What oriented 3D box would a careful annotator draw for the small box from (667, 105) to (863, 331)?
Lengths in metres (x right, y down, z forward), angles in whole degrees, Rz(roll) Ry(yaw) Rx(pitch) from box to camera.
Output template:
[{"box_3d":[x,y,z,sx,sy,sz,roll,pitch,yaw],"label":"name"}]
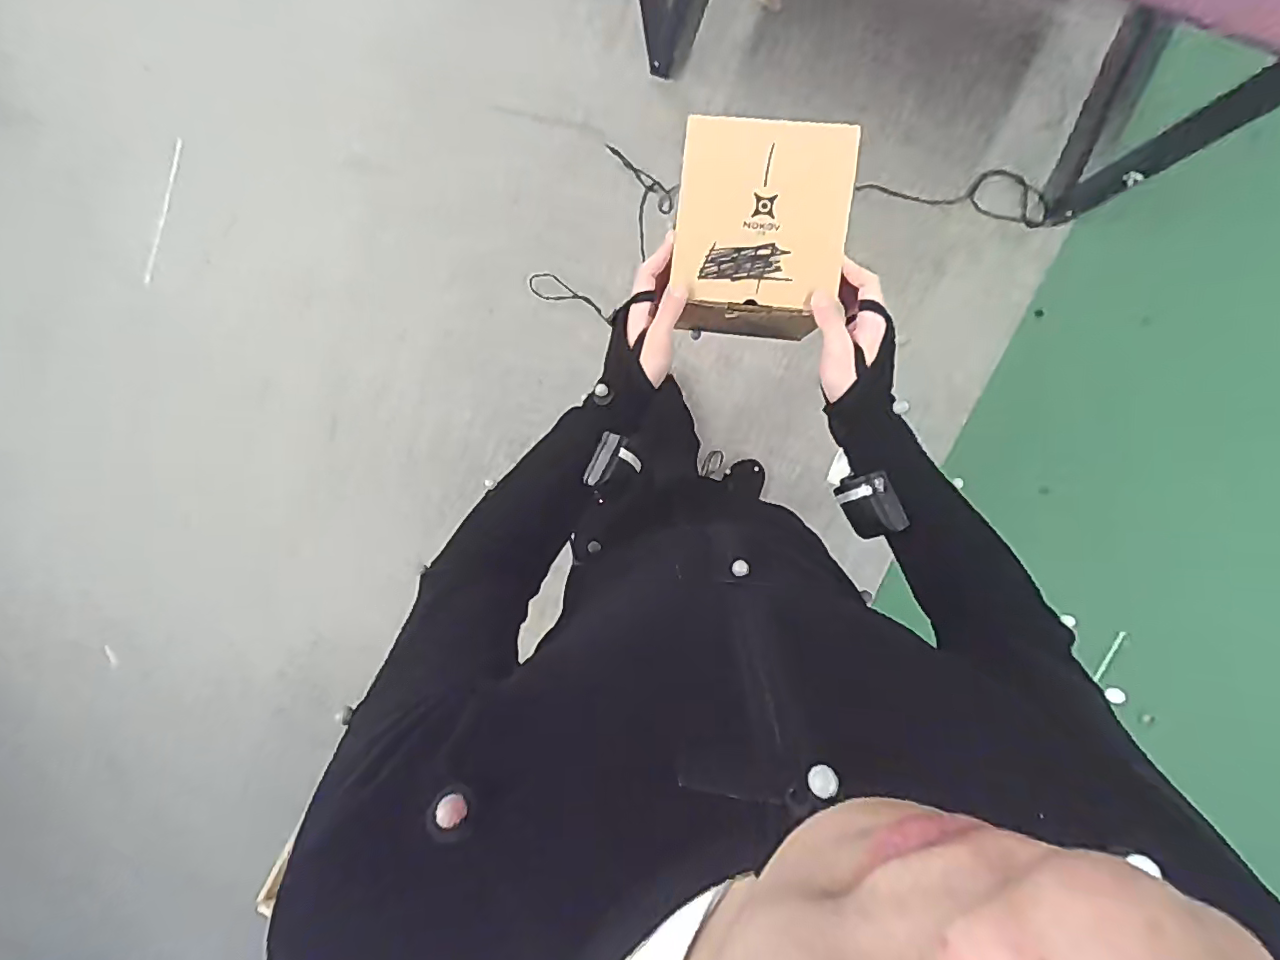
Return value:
[{"box_3d":[0.123,-0.267,0.590,0.168,0.176,0.179,6,96,4],"label":"small box"}]
